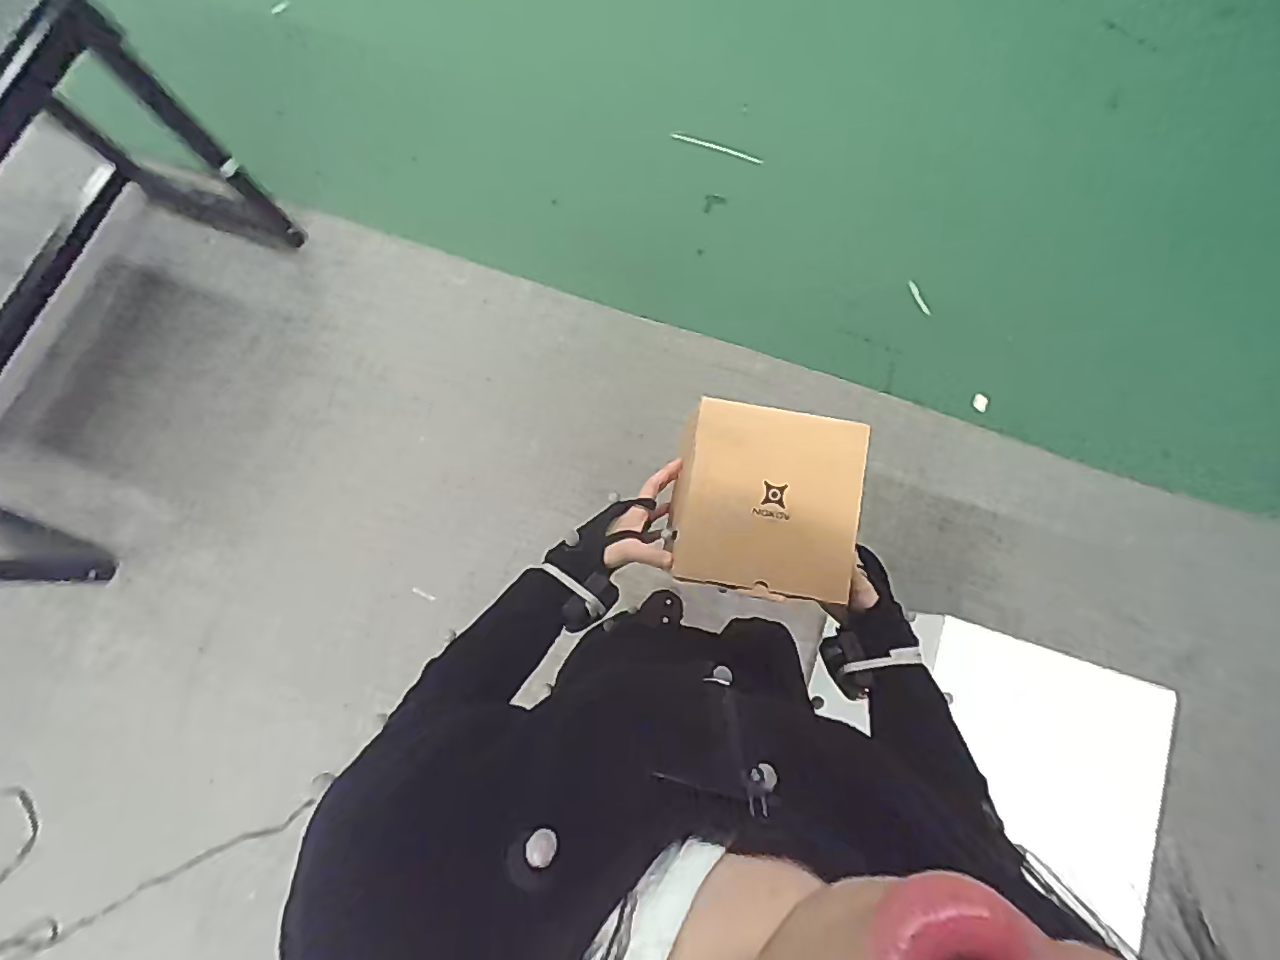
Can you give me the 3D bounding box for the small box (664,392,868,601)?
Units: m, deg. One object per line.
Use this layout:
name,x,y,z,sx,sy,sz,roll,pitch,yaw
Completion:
small box,0.120,0.022,0.575,0.168,0.176,0.179,8,85,-1
